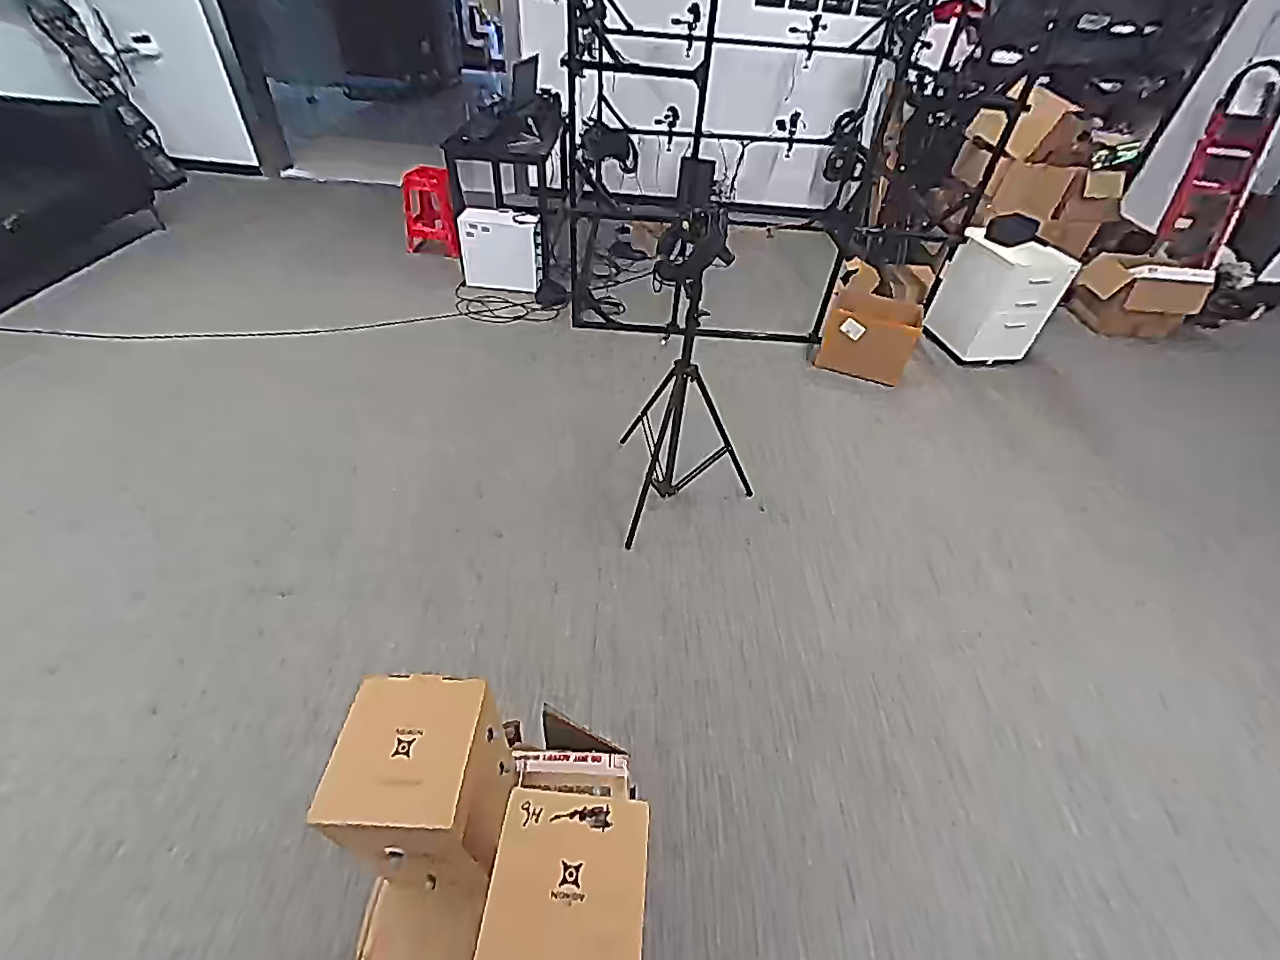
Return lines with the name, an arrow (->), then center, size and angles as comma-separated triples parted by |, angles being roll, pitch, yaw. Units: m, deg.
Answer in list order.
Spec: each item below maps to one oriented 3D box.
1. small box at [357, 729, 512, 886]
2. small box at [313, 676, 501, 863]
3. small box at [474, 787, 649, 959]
small box -> -0.299, 0.500, 0.833 | 0.168, 0.176, 0.179 | 2, 44, -1
small box -> -0.288, 0.384, 0.720 | 0.168, 0.176, 0.179 | 2, 45, -1
small box -> -0.082, 0.487, 0.633 | 0.168, 0.176, 0.179 | 6, 45, -1
